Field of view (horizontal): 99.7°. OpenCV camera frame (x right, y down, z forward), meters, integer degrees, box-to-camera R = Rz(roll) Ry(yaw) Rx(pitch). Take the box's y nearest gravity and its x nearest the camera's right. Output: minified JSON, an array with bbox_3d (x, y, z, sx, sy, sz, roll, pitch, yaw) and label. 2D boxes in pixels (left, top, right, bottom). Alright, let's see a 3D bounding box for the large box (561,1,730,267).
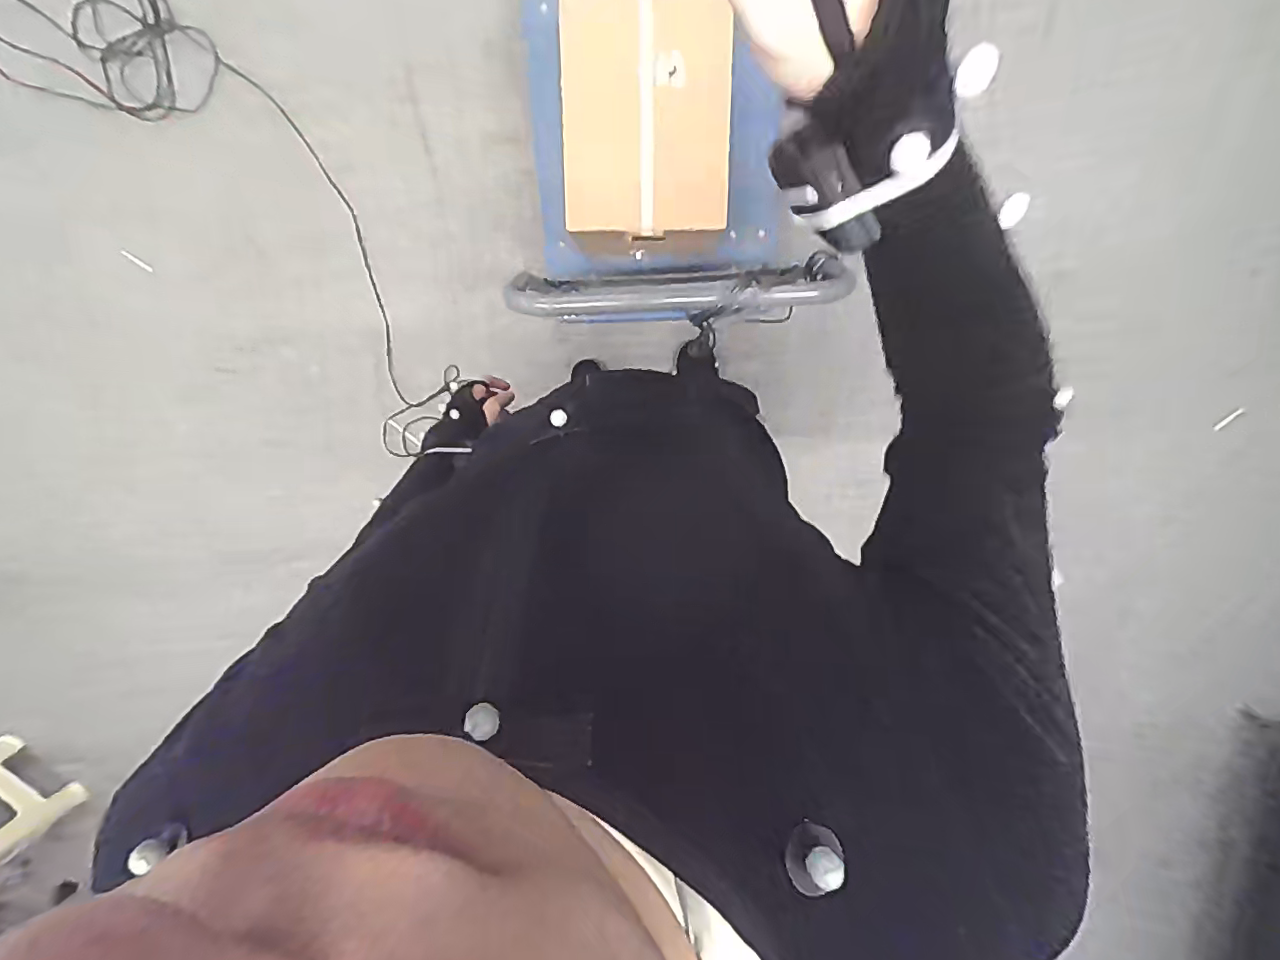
[{"bbox_3d":[0.016,-0.695,1.159,0.320,0.320,0.408,0,102,1],"label":"large box"}]
